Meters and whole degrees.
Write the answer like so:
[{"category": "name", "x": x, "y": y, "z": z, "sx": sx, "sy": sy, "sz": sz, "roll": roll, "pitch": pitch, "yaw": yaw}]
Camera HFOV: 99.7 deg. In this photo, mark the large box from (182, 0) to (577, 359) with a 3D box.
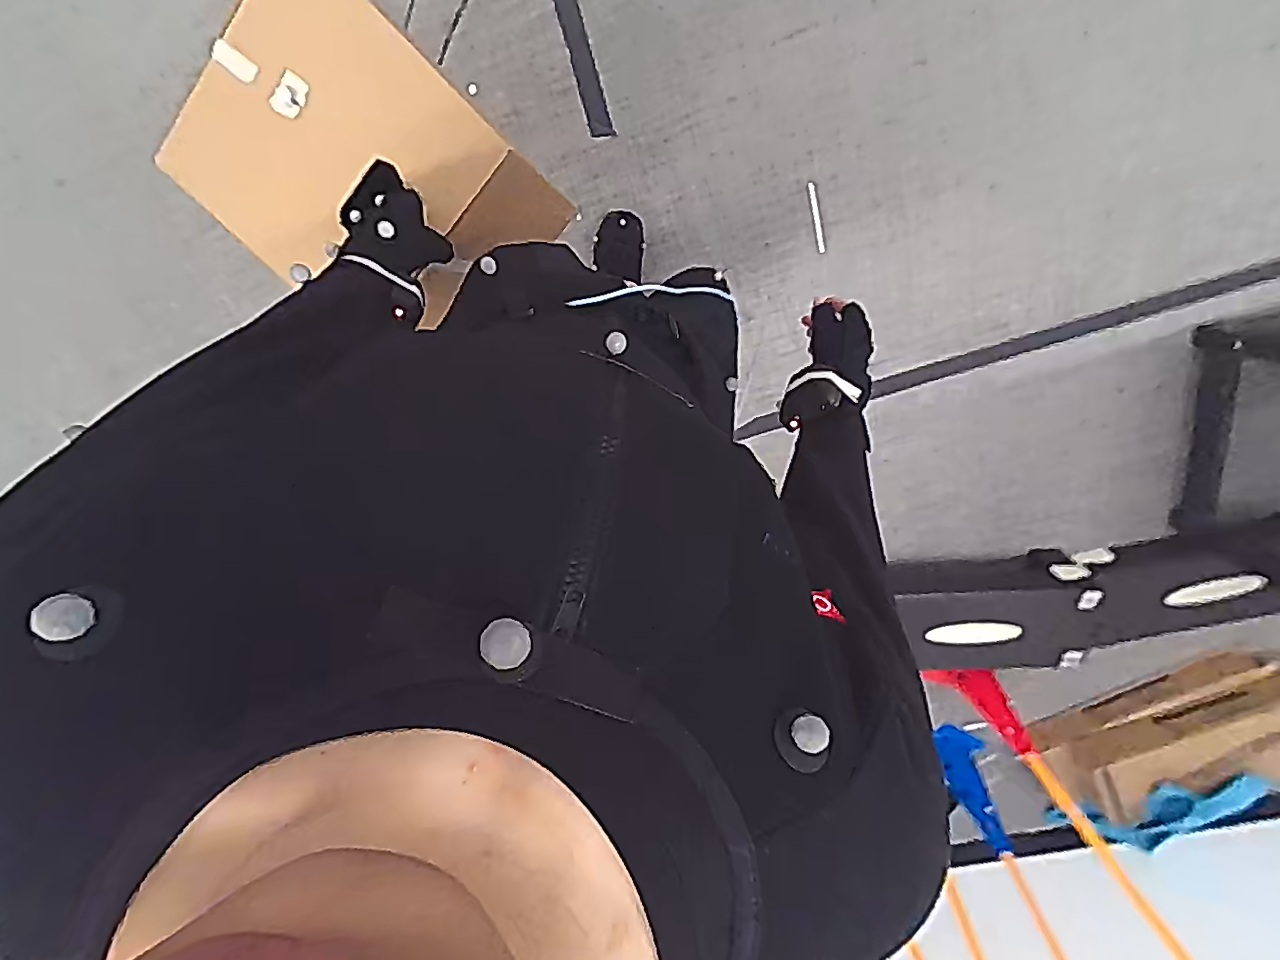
[{"category": "large box", "x": -0.345, "y": -0.424, "z": 0.825, "sx": 0.320, "sy": 0.408, "sz": 0.320, "roll": 43, "pitch": 107, "yaw": -10}]
